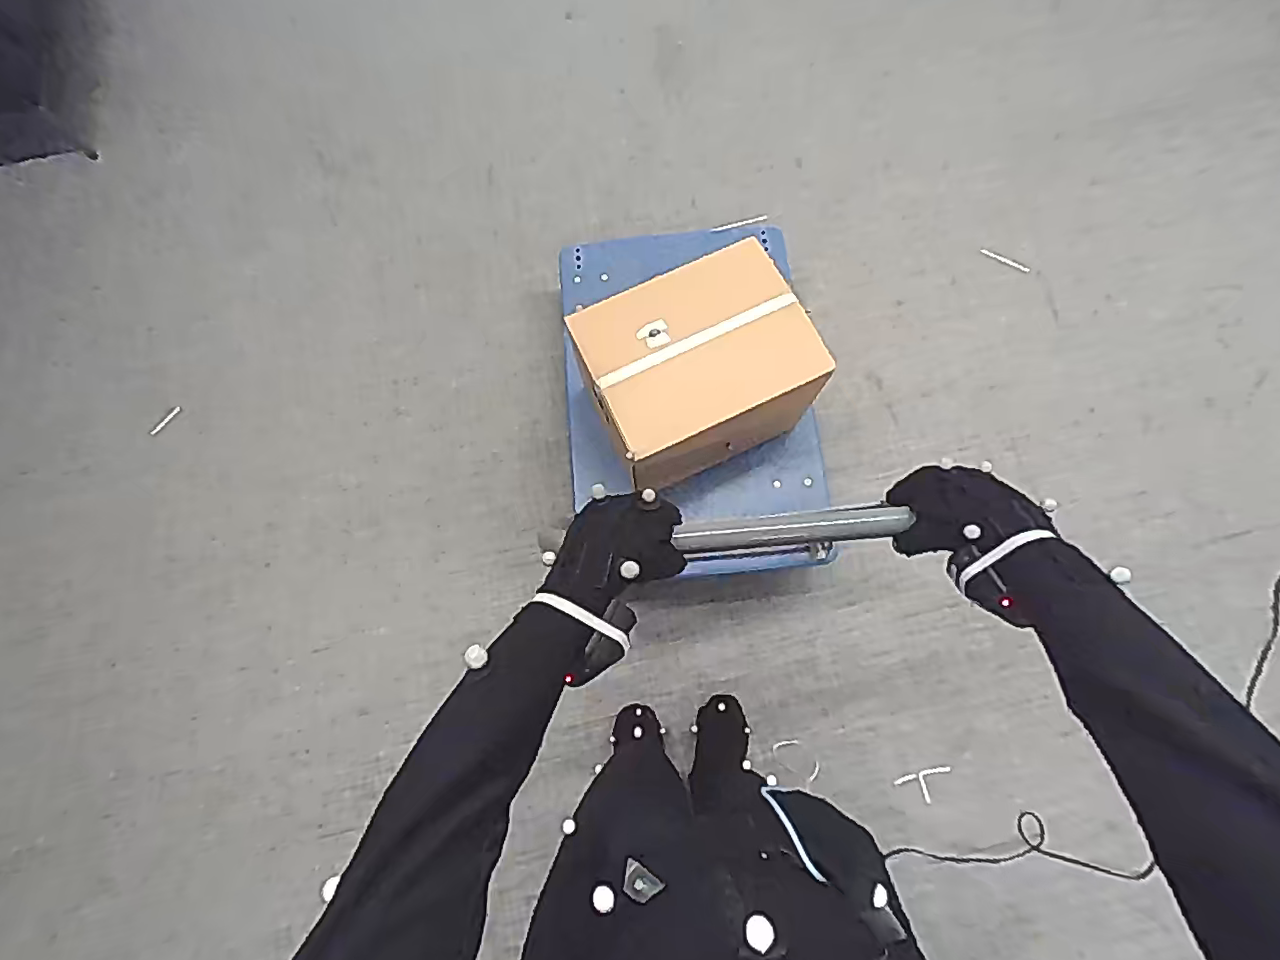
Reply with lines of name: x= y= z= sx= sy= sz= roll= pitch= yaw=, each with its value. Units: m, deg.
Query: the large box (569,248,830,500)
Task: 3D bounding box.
large box: x=0.112 y=-0.202 z=1.146 sx=0.408 sy=0.320 sz=0.320 roll=-26 pitch=76 yaw=-4
